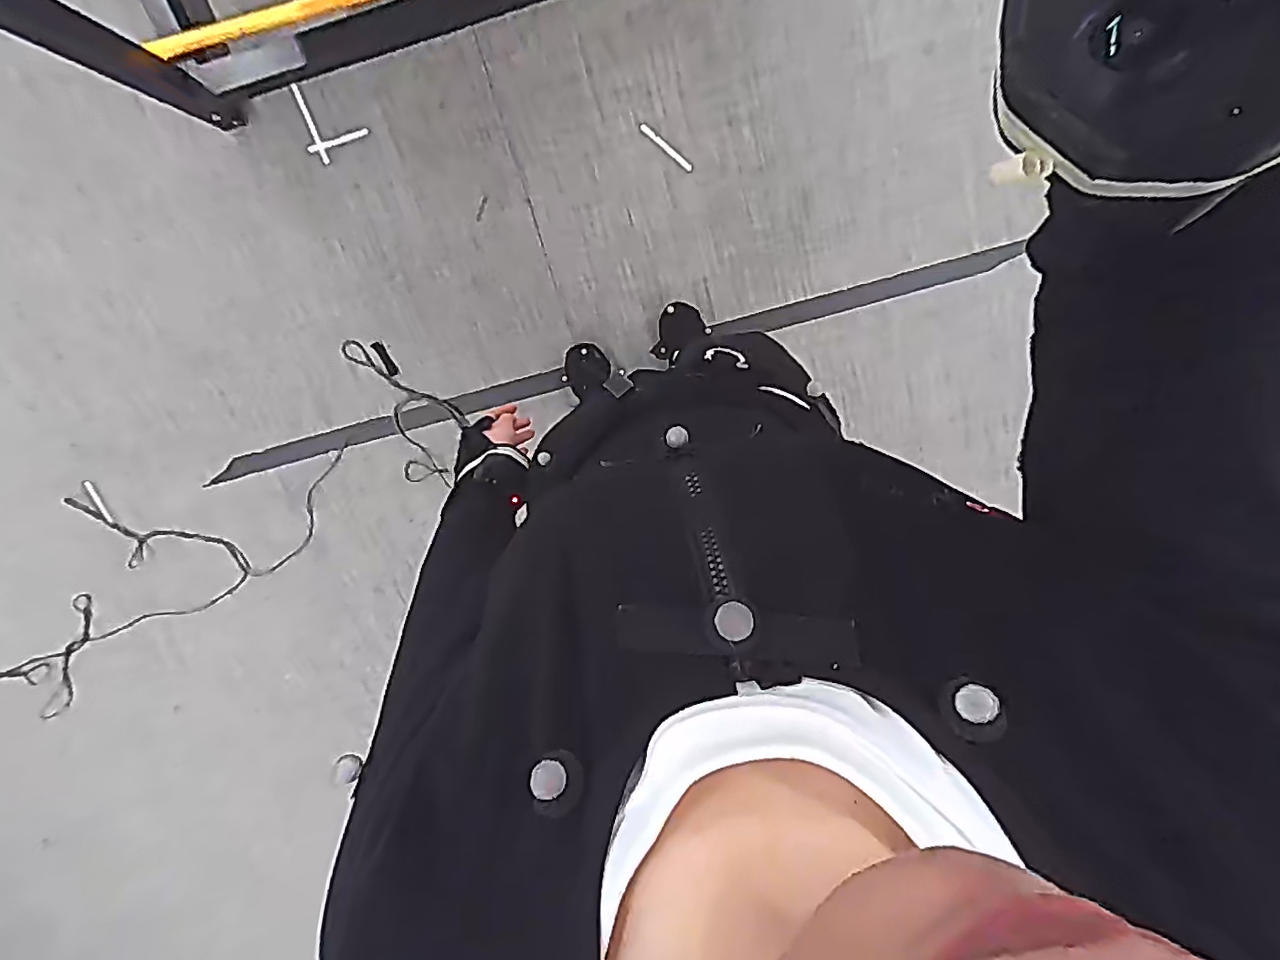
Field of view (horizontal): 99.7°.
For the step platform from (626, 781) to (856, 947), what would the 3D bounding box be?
[{"bbox_3d":[0.304,1.183,1.668,0.684,0.204,0.286,-16,107,2],"label":"step platform"}]
